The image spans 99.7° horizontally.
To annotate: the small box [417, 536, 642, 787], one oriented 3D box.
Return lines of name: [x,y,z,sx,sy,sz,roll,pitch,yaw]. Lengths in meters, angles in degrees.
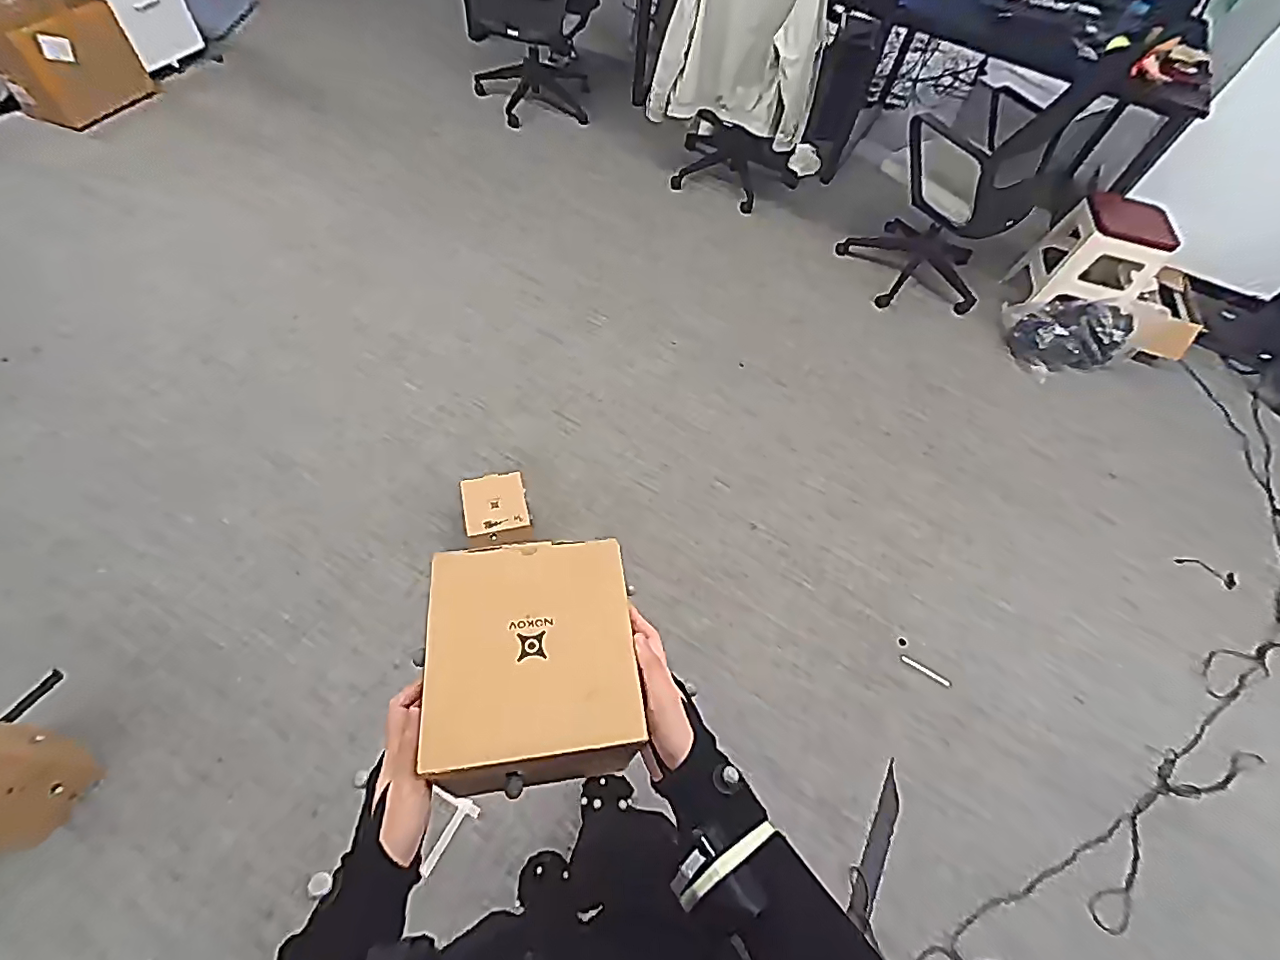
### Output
small box: [-0.097,0.174,0.502,0.168,0.176,0.179,-4,54,-11]

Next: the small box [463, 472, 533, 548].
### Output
small box: [-0.401,0.103,1.534,0.168,0.176,0.179,-10,60,-14]

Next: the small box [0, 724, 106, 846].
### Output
small box: [-1.275,0.620,1.104,0.179,0.176,0.168,24,58,9]

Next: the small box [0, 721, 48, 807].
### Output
small box: [-1.255,0.529,0.968,0.179,0.176,0.168,25,58,9]
